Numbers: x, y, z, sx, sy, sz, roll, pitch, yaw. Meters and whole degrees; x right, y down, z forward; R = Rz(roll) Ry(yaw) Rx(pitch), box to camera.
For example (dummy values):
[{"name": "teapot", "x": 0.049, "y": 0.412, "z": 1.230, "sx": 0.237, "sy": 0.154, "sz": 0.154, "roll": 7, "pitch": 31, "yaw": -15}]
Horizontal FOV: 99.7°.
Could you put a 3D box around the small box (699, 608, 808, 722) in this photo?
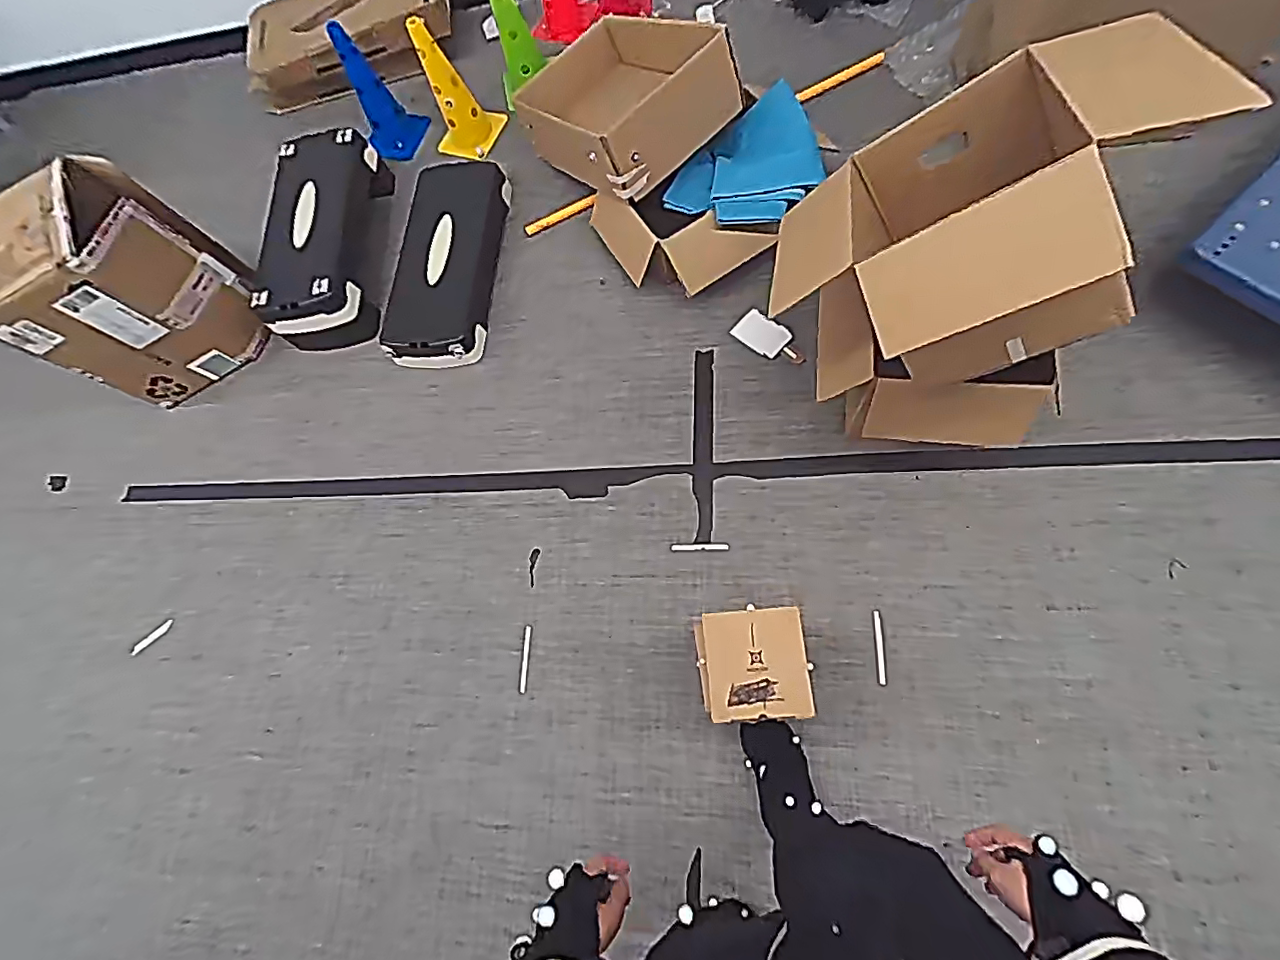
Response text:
[{"name": "small box", "x": 0.199, "y": 0.328, "z": 0.971, "sx": 0.168, "sy": 0.176, "sz": 0.179, "roll": -6, "pitch": 71, "yaw": 8}]
